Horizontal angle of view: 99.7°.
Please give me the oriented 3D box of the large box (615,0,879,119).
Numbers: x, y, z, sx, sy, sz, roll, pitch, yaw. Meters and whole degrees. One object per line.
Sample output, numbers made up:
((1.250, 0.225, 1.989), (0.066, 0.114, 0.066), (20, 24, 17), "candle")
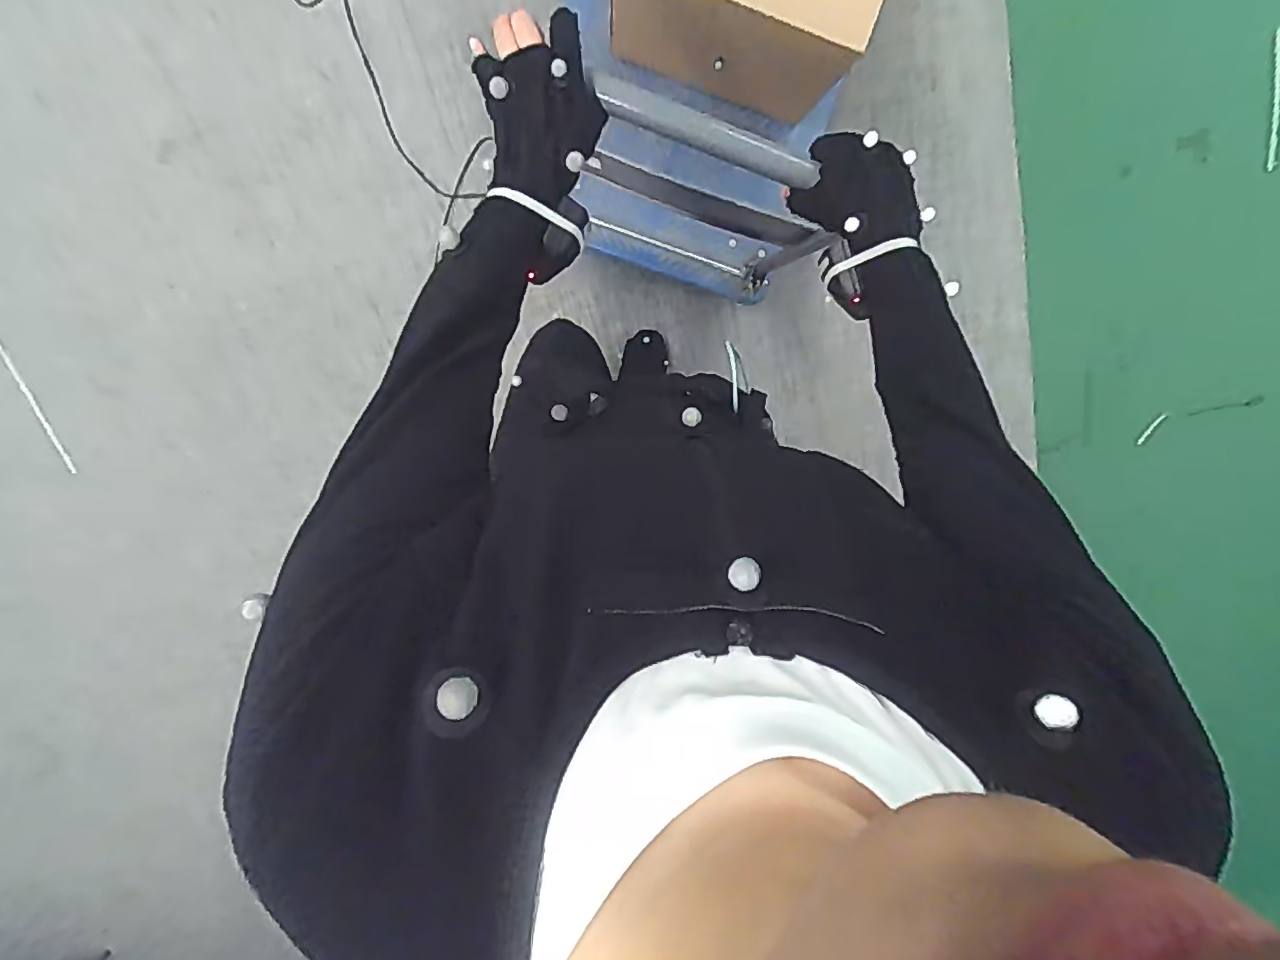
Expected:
((0.190, -0.895, 0.925), (0.408, 0.320, 0.320), (15, 104, -7), "large box")
